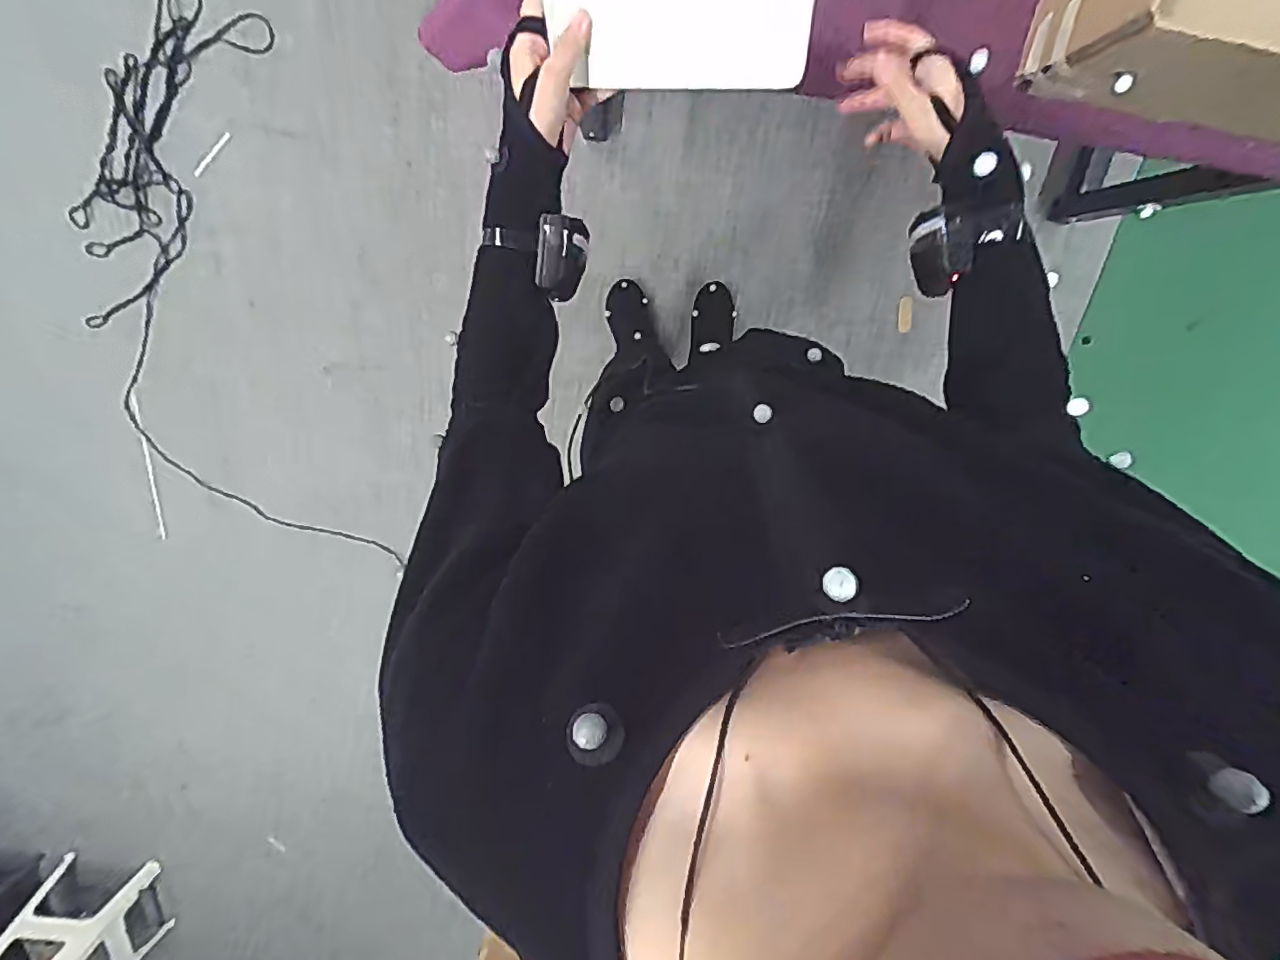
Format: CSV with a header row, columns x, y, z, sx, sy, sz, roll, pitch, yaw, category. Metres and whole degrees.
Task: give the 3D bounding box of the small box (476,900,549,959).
x,y,z,sx,sy,sz,roll,pitch,yaw,category
-0.391,1.431,1.636,0.168,0.176,0.179,26,109,-6,small box
